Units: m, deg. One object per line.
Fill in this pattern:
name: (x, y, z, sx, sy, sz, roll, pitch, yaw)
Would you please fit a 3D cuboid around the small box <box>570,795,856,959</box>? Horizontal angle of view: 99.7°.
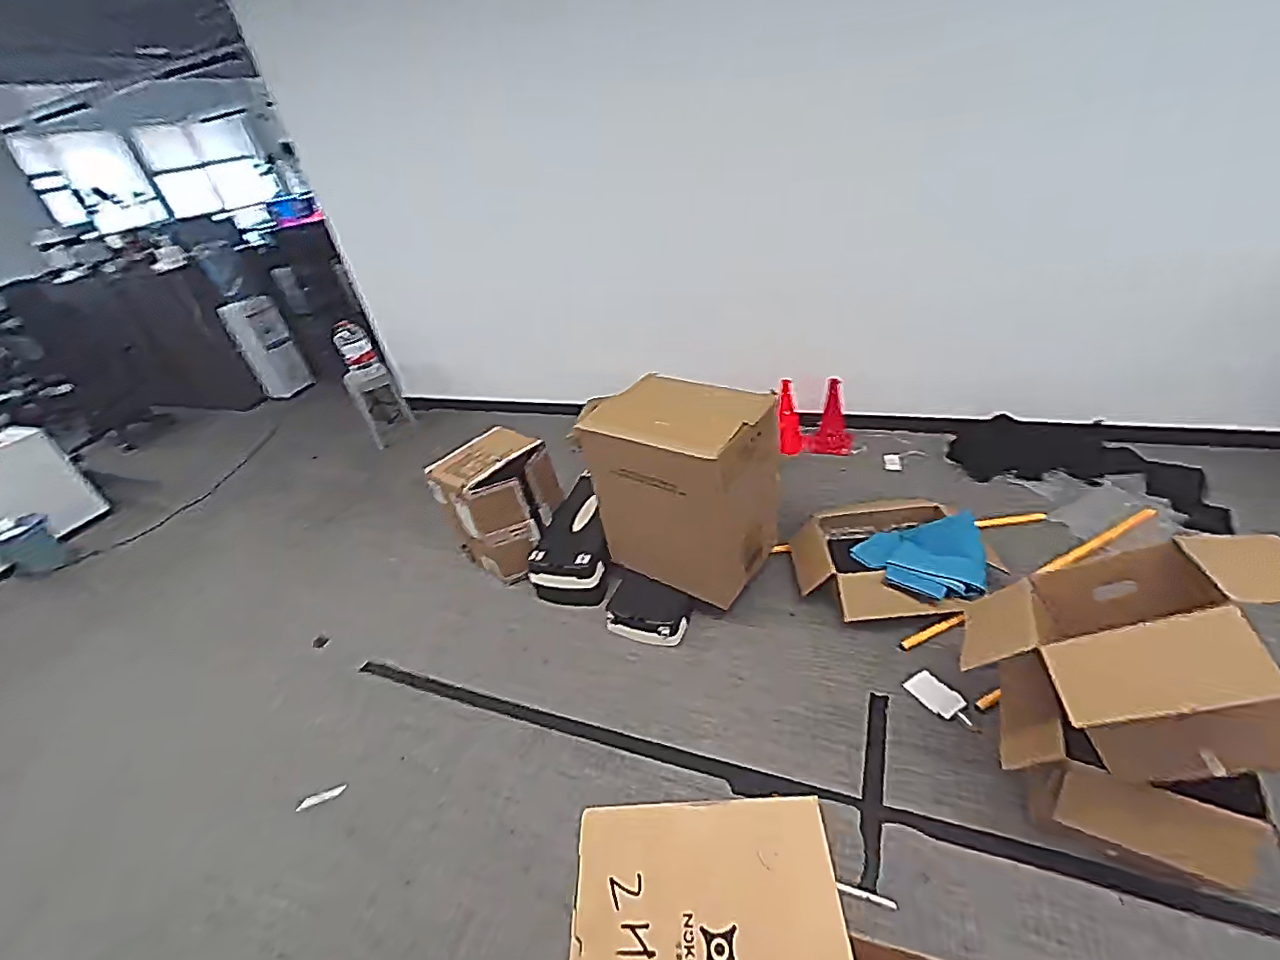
small box: (0.054, 0.346, 0.383, 0.179, 0.176, 0.168, -7, 39, 6)
